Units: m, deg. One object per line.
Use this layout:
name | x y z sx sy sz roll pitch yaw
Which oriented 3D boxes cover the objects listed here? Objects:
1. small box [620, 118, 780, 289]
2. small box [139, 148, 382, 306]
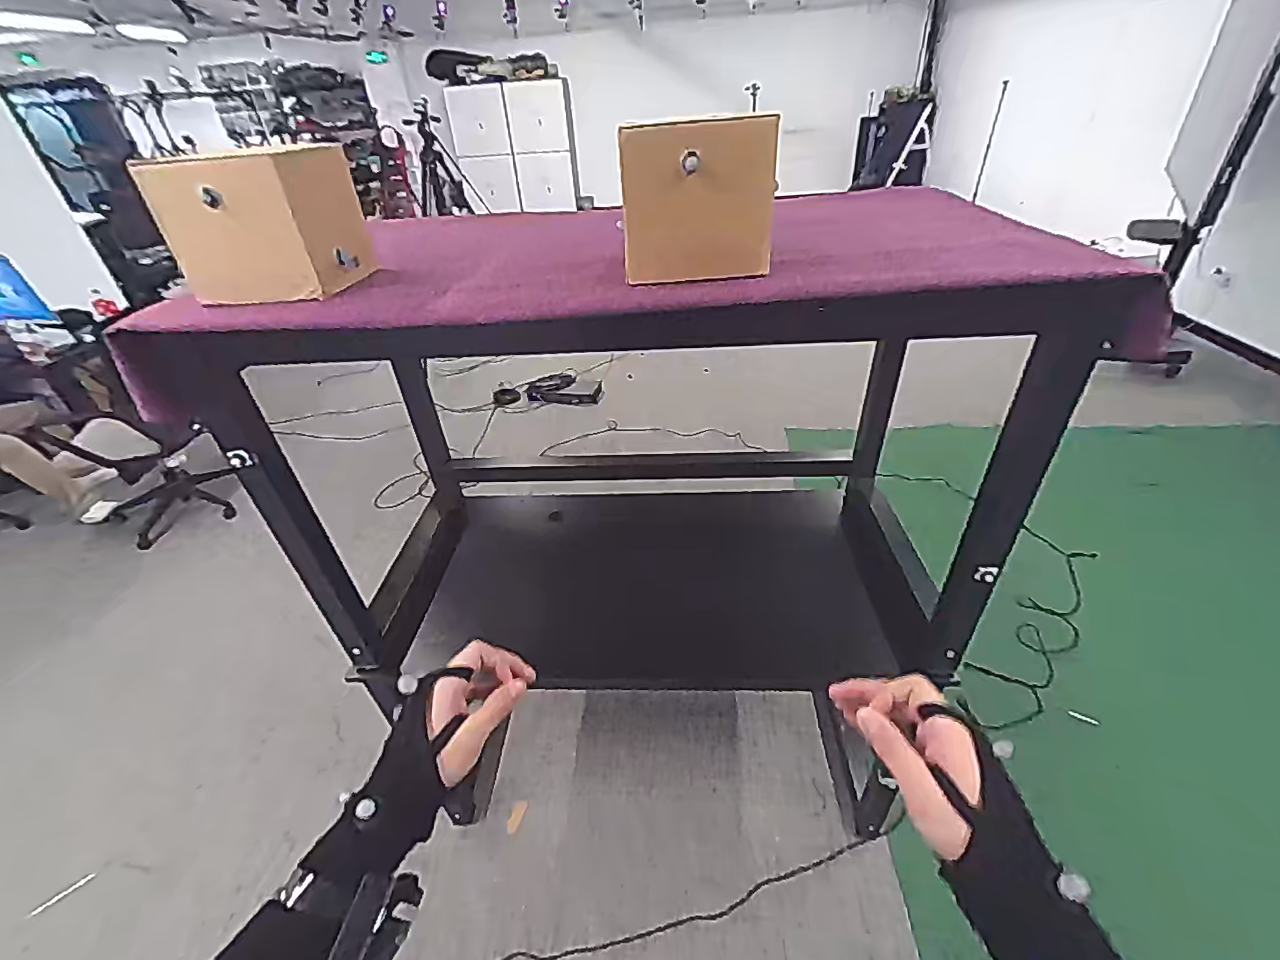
small box | 0.070 -0.355 0.693 0.179 0.176 0.168 -4 34 2
small box | -0.486 -0.340 0.726 0.179 0.176 0.168 -1 35 4
